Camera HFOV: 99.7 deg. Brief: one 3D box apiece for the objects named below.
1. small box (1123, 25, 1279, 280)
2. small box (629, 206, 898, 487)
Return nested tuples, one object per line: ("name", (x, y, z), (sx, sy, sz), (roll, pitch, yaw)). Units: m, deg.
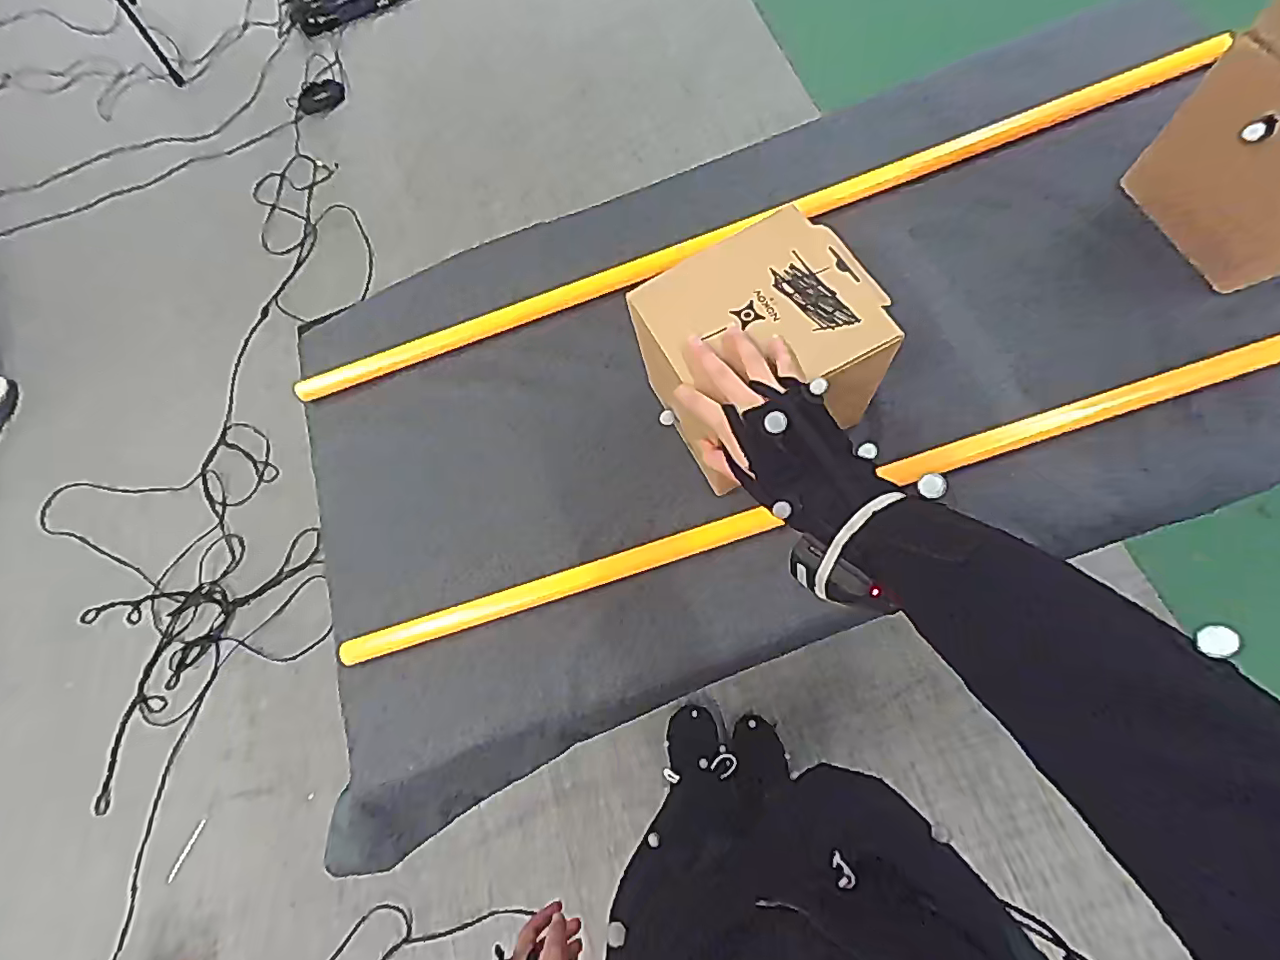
("small box", (0.641, -0.321, 0.519), (0.168, 0.176, 0.179), (-20, 68, 3))
("small box", (0.111, -0.118, 0.536), (0.179, 0.176, 0.168), (-28, 68, -1))
